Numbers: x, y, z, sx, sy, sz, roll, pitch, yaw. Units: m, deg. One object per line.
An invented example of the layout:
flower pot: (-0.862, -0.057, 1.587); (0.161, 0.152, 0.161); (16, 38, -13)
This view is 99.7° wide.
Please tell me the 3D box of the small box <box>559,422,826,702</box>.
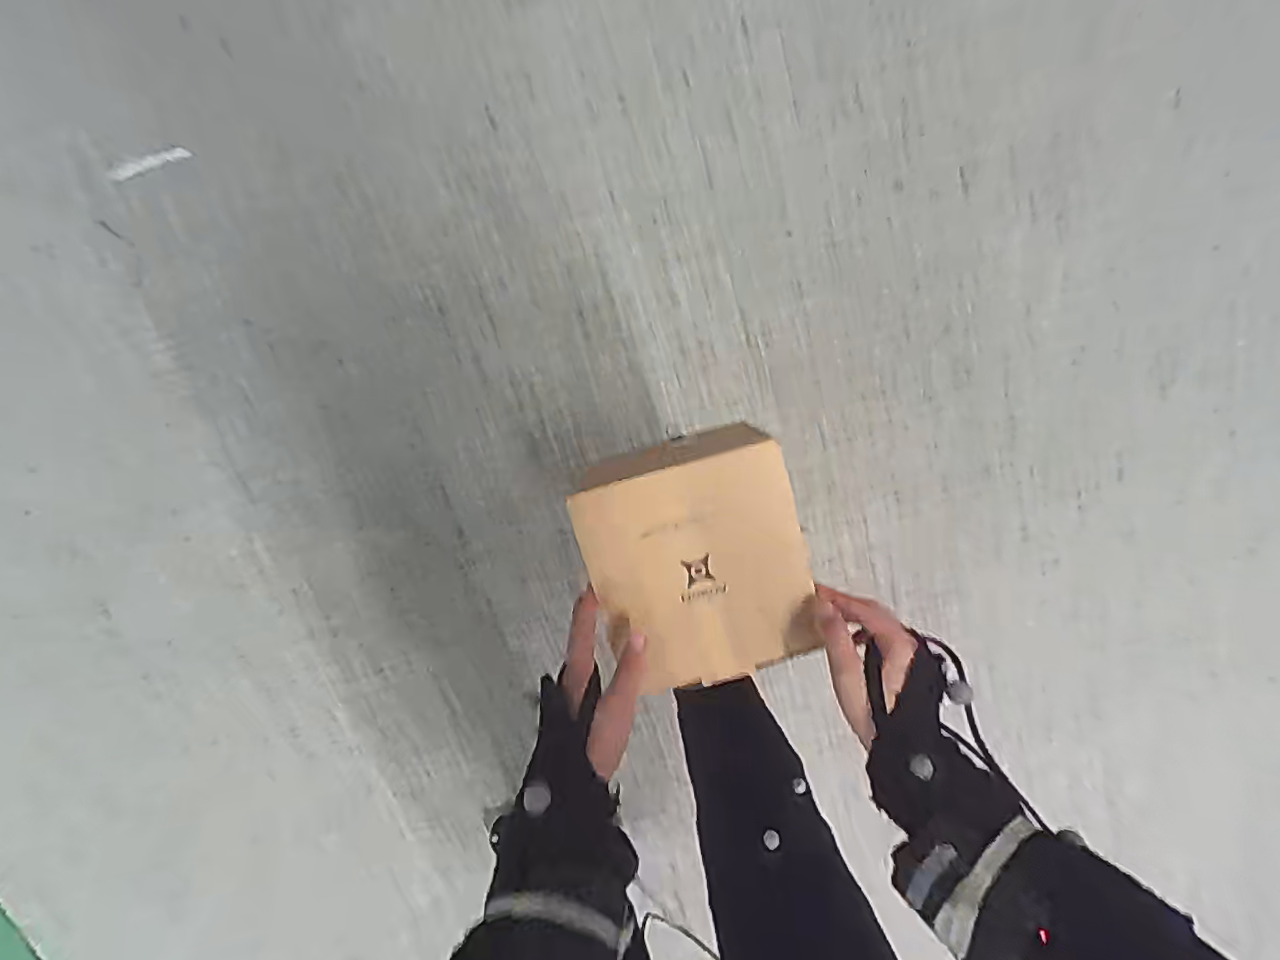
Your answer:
small box: (0.042, 0.057, 0.479); (0.168, 0.176, 0.179); (-16, 99, 3)
